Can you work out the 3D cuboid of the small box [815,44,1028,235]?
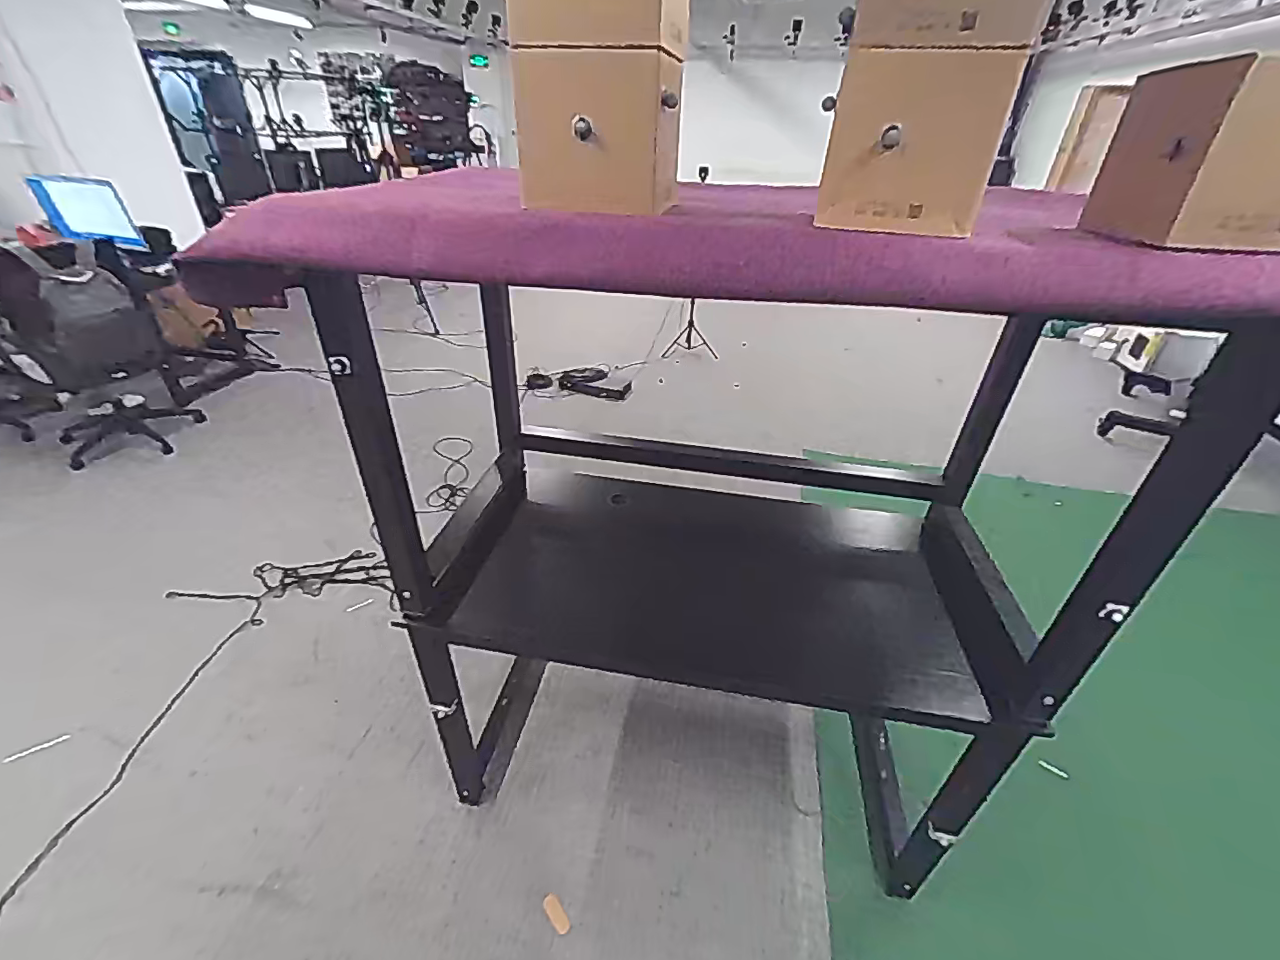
[{"bbox_3d":[0.308,-0.389,0.633,0.168,0.176,0.179,11,32,12],"label":"small box"}]

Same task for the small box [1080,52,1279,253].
[{"bbox_3d":[0.645,-0.351,0.594,0.168,0.176,0.179,7,31,6],"label":"small box"}]

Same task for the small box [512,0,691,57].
[{"bbox_3d":[-0.036,-0.586,0.604,0.179,0.176,0.168,9,33,10],"label":"small box"}]

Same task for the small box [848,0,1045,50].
[{"bbox_3d":[0.316,-0.530,0.548,0.168,0.176,0.179,11,33,13],"label":"small box"}]
